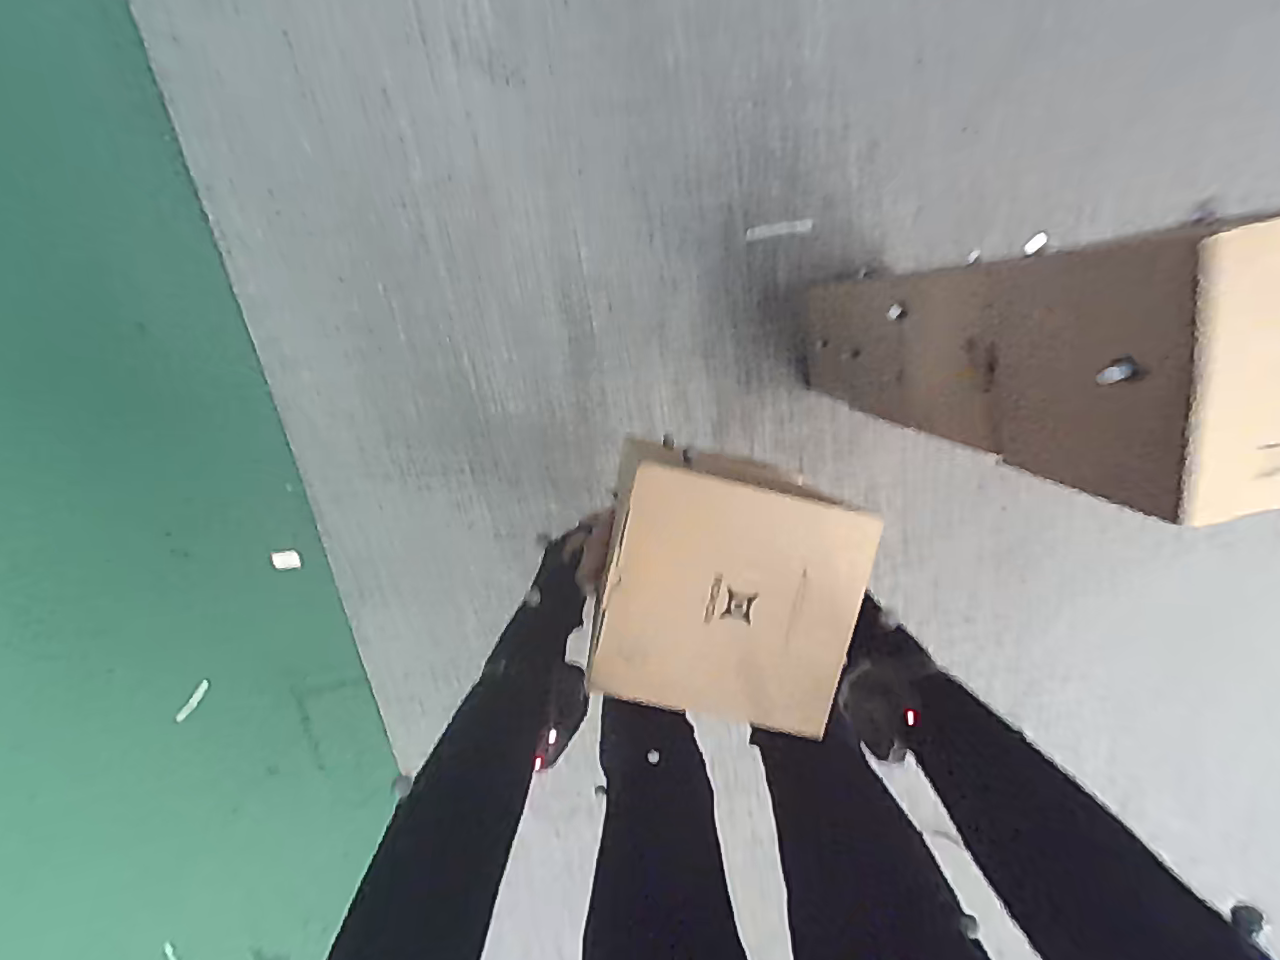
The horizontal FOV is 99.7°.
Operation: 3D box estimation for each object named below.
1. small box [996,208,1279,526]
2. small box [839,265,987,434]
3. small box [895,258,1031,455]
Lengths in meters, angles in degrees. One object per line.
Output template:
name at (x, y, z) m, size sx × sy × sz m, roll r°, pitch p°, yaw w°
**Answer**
small box at (0.387, -0.089, 0.387) m, size 0.168 × 0.176 × 0.179 m, roll -12°, pitch 106°, yaw 1°
small box at (0.377, -0.174, 0.703) m, size 0.168 × 0.176 × 0.179 m, roll -12°, pitch 107°, yaw -1°
small box at (0.376, -0.134, 0.545) m, size 0.179 × 0.176 × 0.168 m, roll -11°, pitch 106°, yaw -1°
